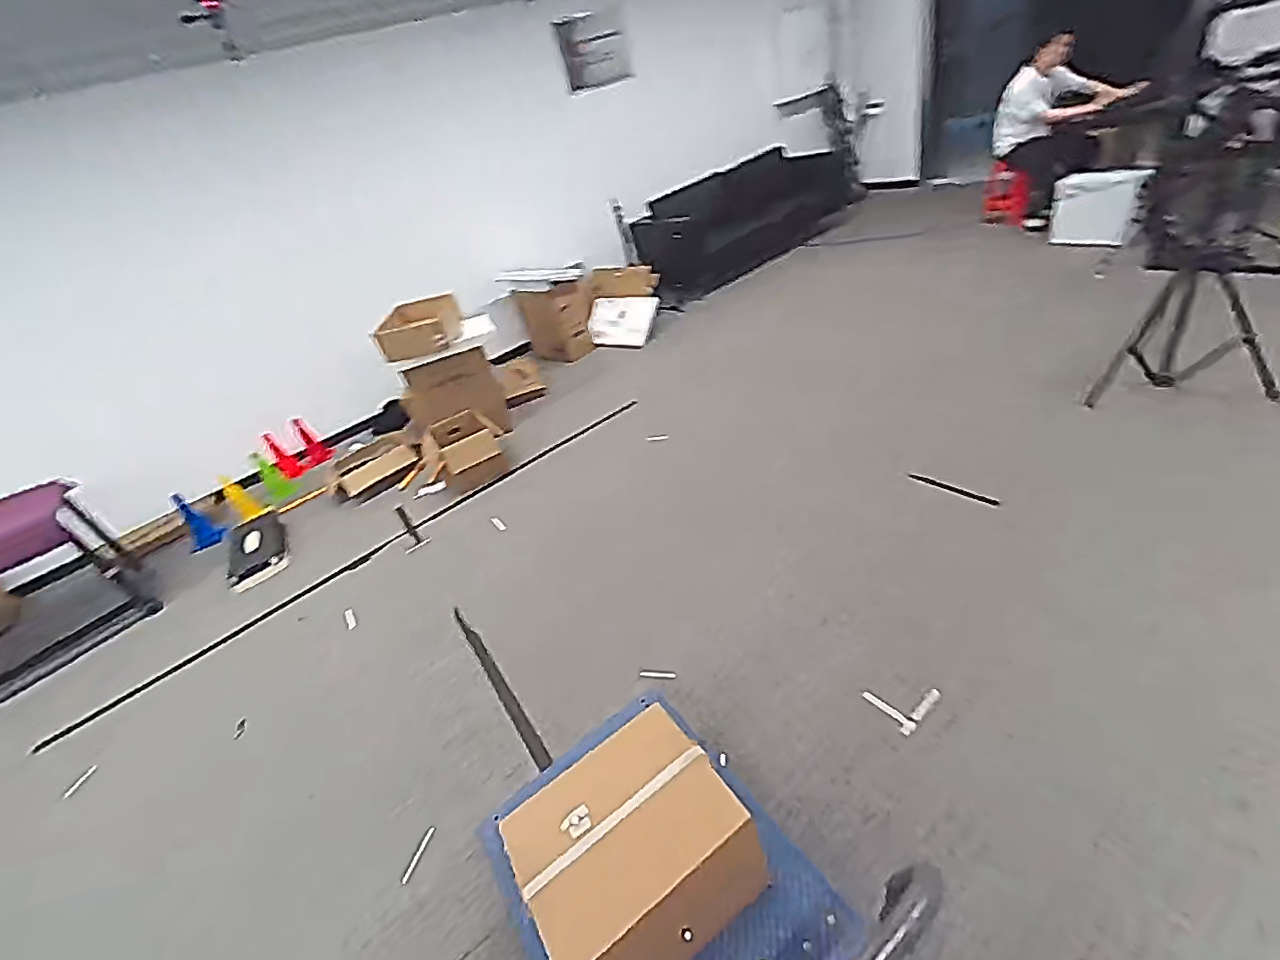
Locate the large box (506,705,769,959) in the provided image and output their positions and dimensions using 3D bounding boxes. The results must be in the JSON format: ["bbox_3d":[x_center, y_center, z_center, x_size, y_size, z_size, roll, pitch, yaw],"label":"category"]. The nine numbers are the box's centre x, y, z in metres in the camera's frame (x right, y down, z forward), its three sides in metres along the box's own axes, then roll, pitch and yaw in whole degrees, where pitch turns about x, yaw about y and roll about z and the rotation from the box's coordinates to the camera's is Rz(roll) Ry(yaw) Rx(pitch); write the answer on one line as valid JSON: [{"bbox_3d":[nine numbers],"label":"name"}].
[{"bbox_3d":[0.005,0.775,1.125,0.408,0.320,0.320,-32,34,-18],"label":"large box"}]
